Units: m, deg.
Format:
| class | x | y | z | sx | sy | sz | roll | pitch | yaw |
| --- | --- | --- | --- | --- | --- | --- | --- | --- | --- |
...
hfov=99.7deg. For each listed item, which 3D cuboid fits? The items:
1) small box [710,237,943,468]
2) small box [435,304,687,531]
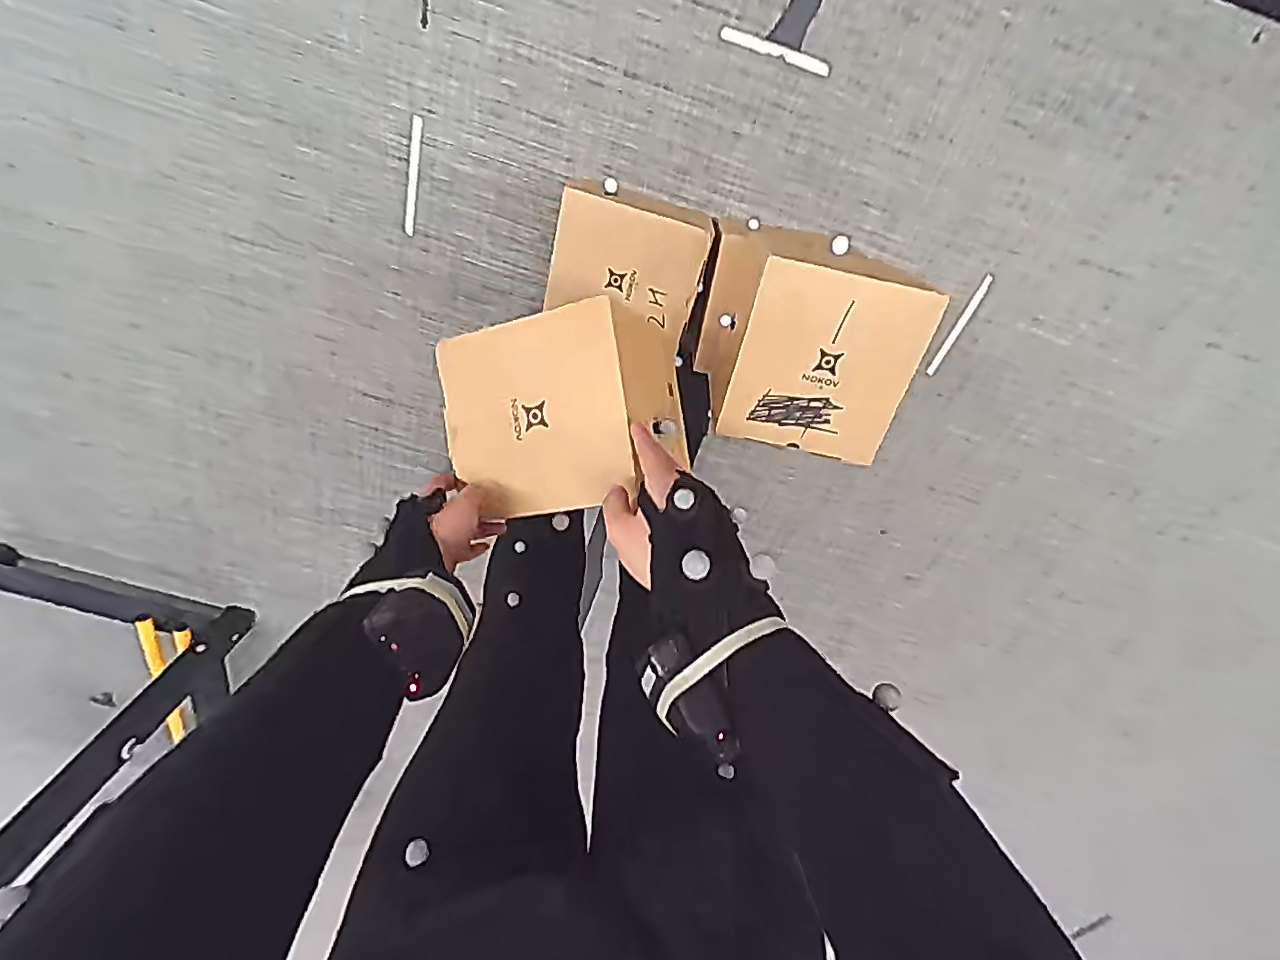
| class | x | y | z | sx | sy | sz | roll | pitch | yaw |
| --- | --- | --- | --- | --- | --- | --- | --- | --- | --- |
| small box | 0.176 | -0.142 | 0.577 | 0.168 | 0.176 | 0.179 | 12 | 121 | -2 |
| small box | -0.062 | -0.052 | 0.525 | 0.179 | 0.176 | 0.168 | -10 | 90 | 22 |
